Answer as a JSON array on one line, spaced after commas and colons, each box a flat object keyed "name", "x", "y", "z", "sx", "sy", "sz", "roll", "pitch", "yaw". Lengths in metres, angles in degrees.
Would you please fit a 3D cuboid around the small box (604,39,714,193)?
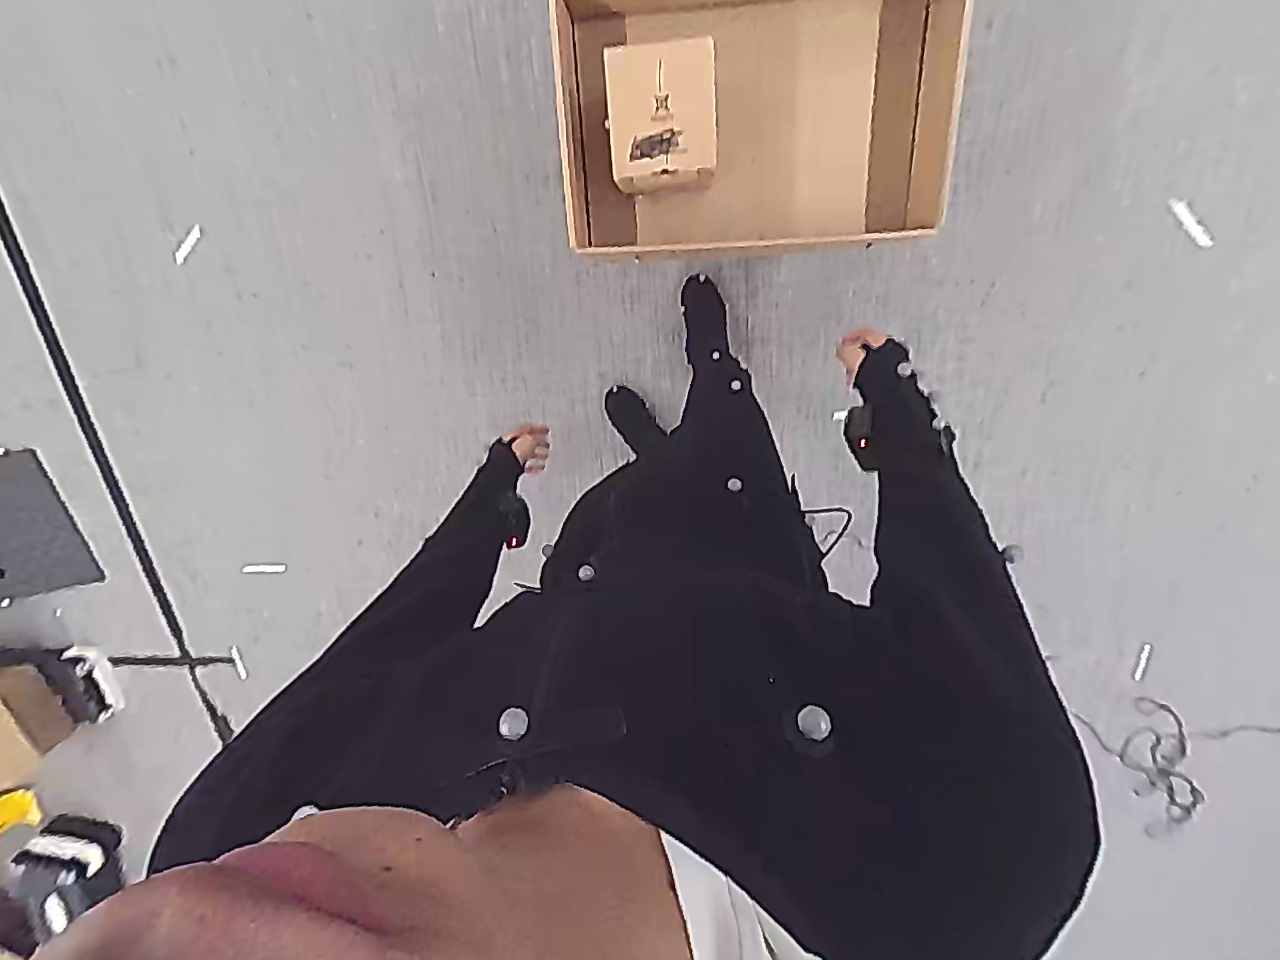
[{"name": "small box", "x": 0.039, "y": -0.587, "z": 0.898, "sx": 0.168, "sy": 0.176, "sz": 0.179, "roll": -2, "pitch": 109, "yaw": 6}]
